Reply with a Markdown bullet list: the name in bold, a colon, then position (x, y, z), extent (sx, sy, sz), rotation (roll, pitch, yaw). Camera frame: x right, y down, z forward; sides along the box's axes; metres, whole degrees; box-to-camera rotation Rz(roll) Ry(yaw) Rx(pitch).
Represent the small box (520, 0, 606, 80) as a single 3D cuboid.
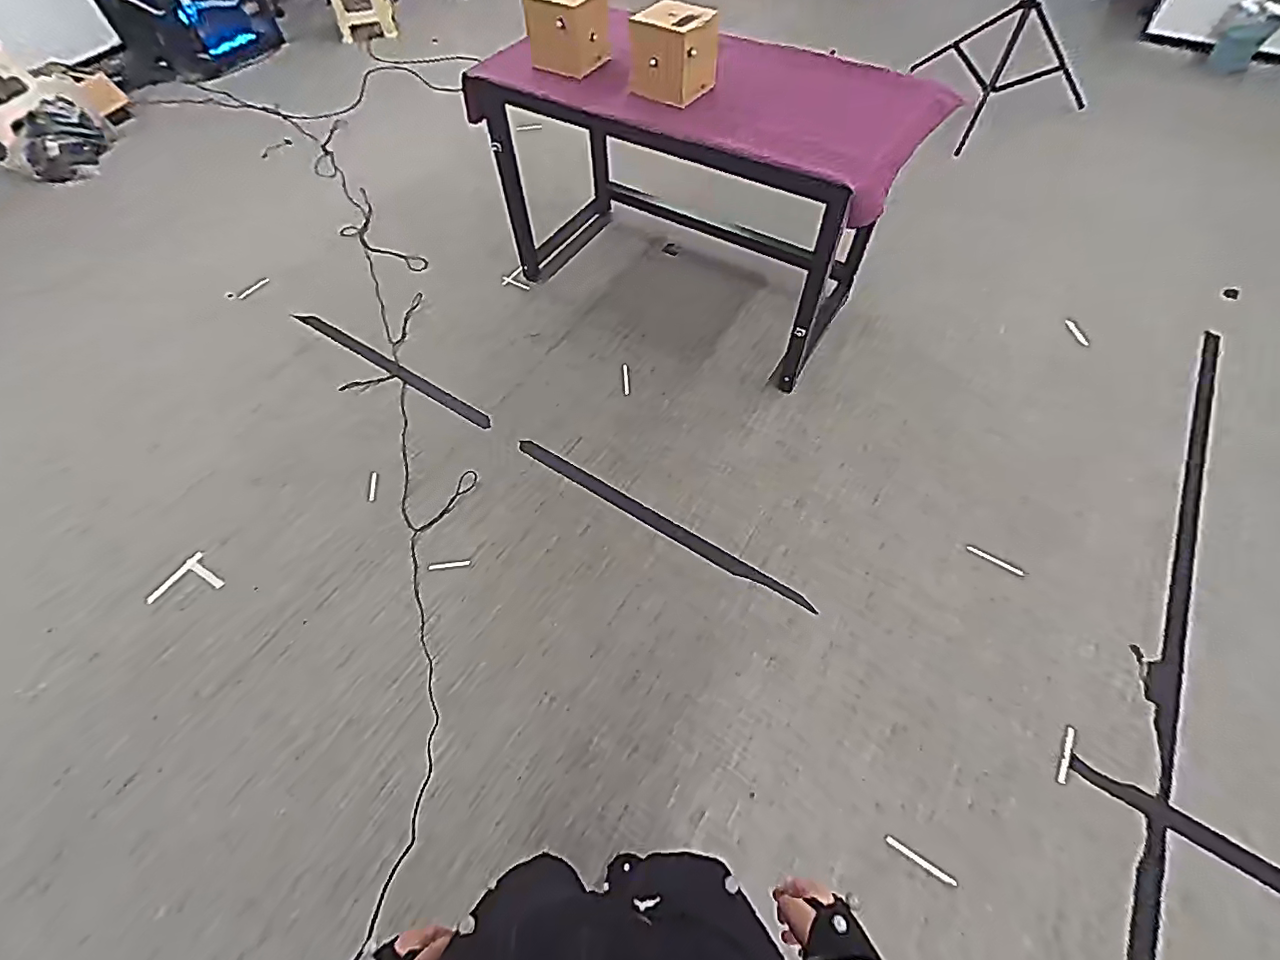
- **small box**: position (-0.210, -1.279, 1.544), extent (0.179, 0.176, 0.168), rotation (26, 60, 16)
